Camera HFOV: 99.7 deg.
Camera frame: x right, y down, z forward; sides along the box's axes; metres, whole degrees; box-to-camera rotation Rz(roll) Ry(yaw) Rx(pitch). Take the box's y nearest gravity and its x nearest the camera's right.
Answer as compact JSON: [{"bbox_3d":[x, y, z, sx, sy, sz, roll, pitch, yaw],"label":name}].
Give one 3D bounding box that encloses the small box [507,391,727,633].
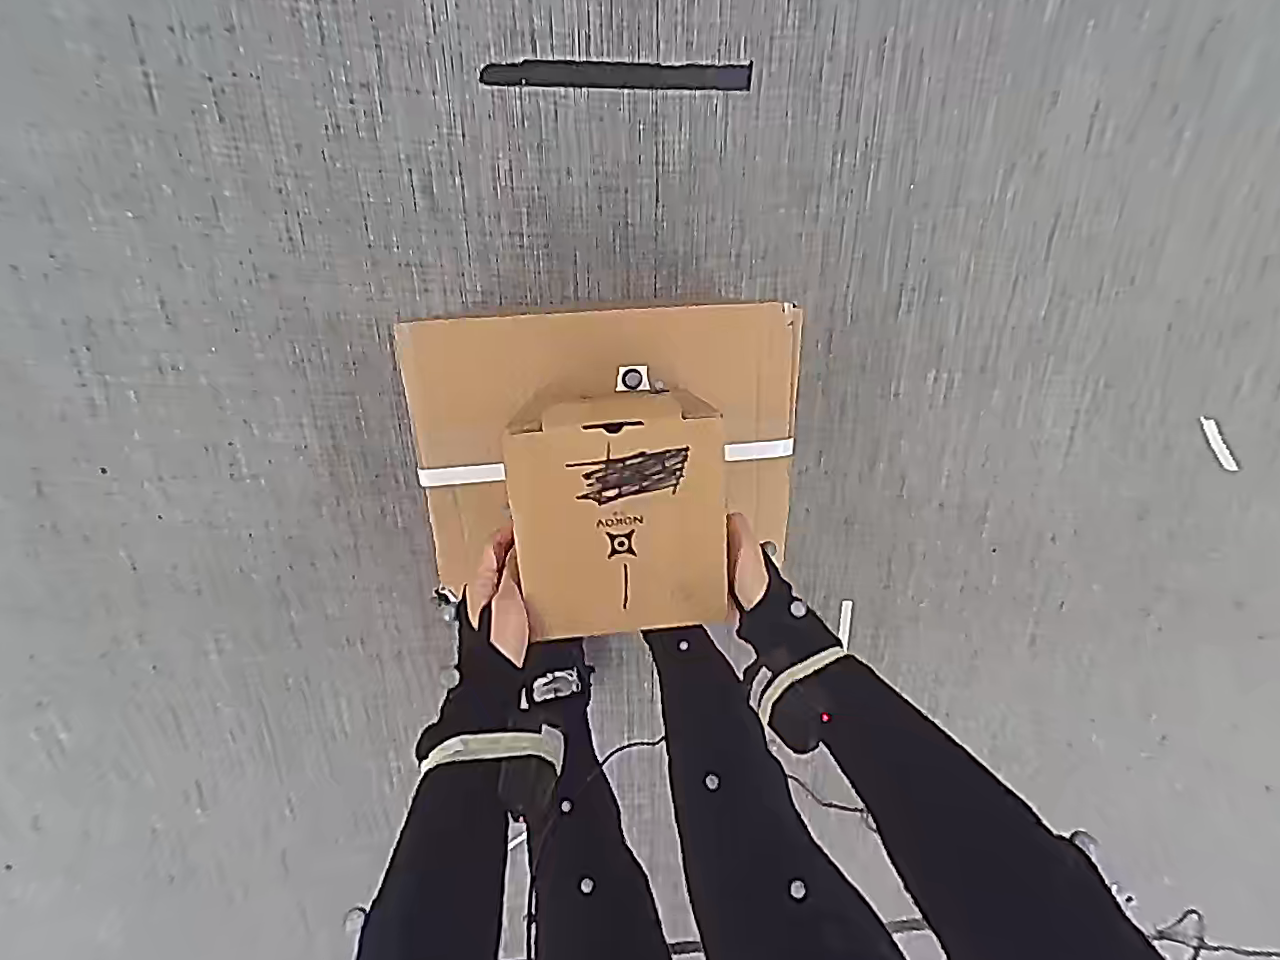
[{"bbox_3d":[-0.019,0.014,0.498,0.168,0.176,0.179,-5,107,-2],"label":"small box"}]
